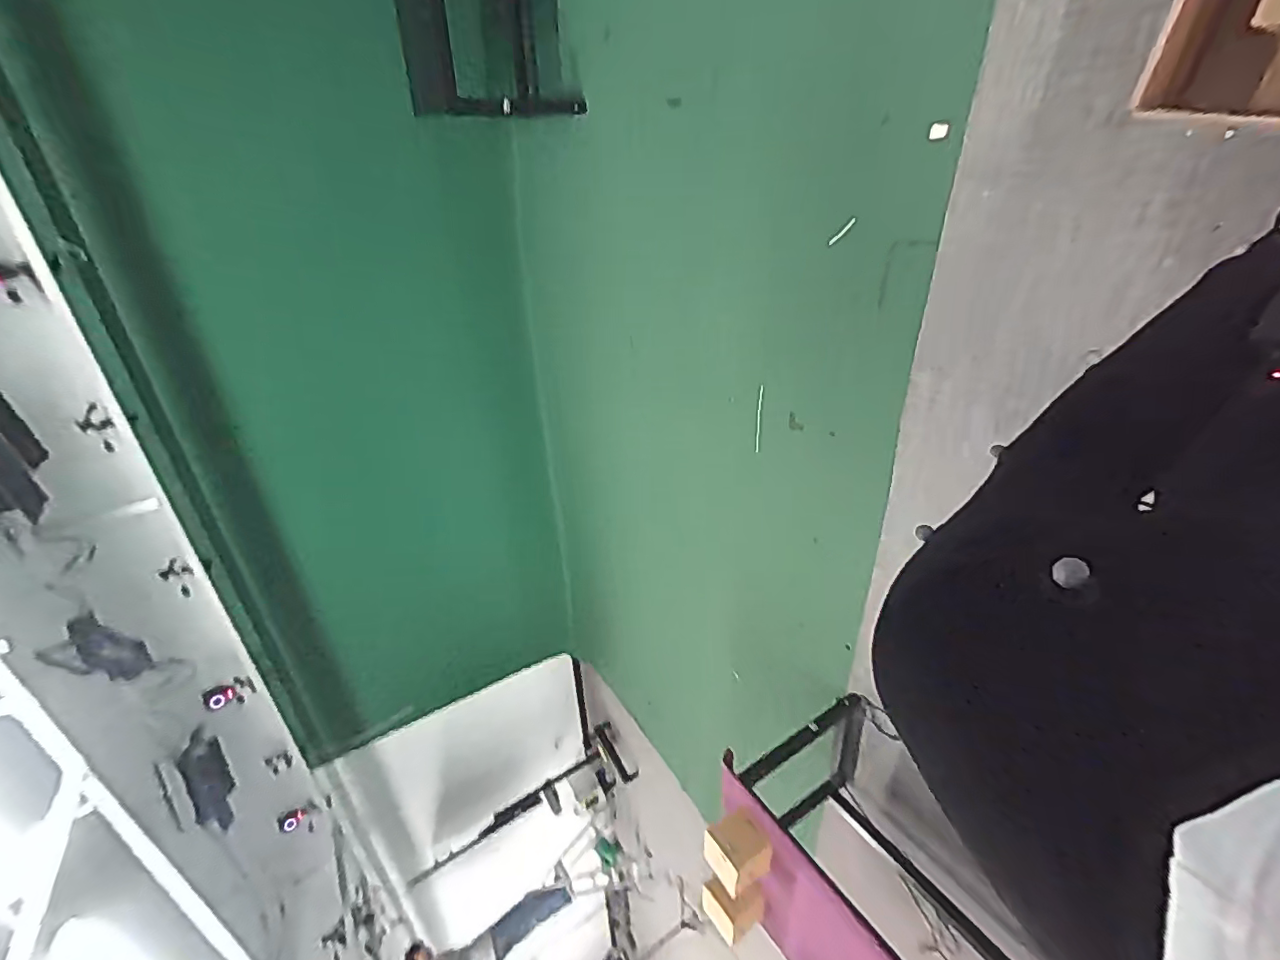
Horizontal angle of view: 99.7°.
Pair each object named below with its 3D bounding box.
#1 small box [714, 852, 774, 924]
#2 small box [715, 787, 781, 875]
[{"bbox_3d":[0.406,1.572,2.121,0.168,0.176,0.179,32,133,48],"label":"small box"},{"bbox_3d":[0.389,1.261,1.949,0.168,0.176,0.179,36,137,47],"label":"small box"}]
